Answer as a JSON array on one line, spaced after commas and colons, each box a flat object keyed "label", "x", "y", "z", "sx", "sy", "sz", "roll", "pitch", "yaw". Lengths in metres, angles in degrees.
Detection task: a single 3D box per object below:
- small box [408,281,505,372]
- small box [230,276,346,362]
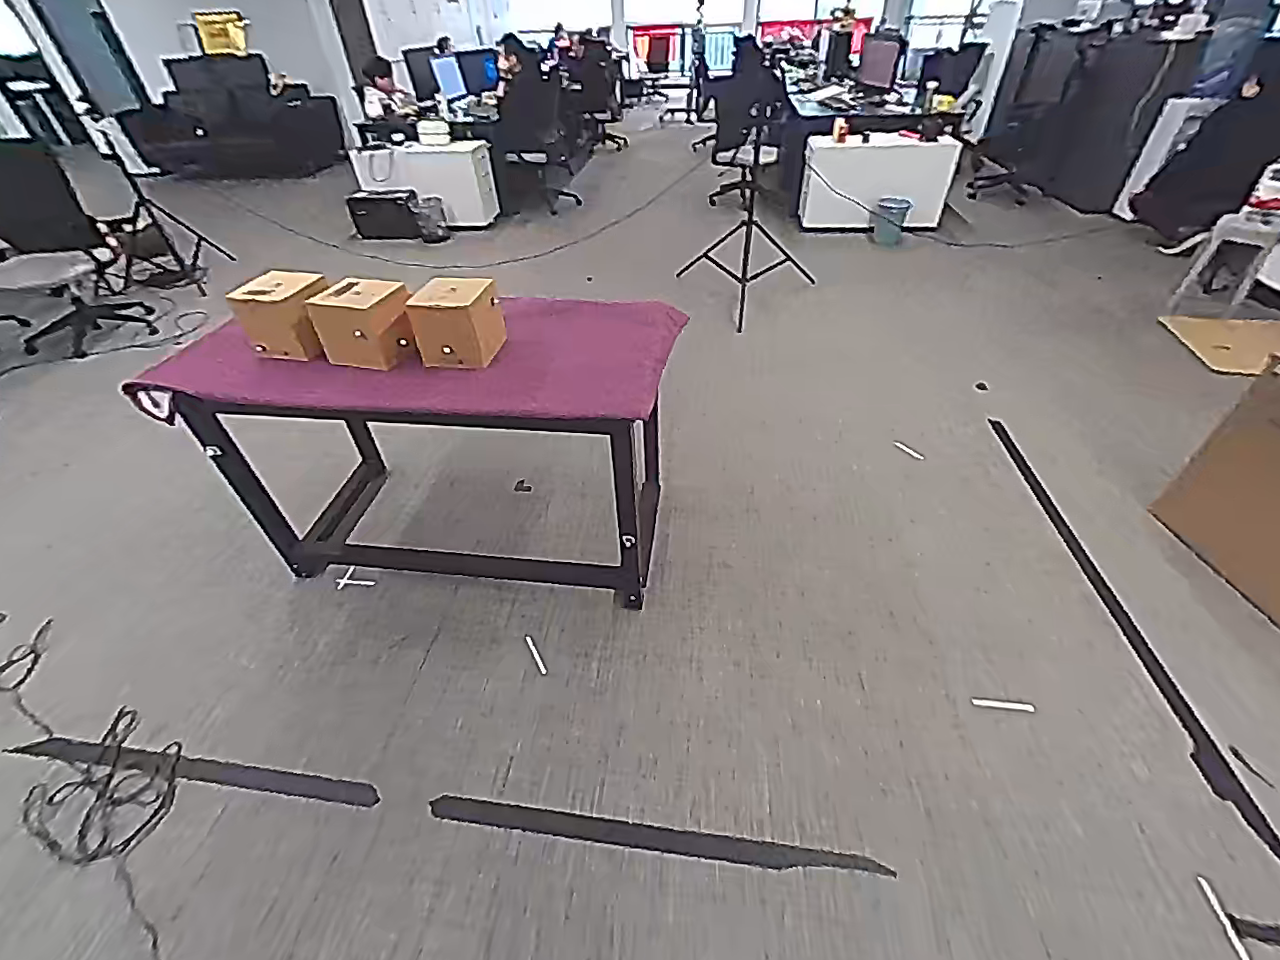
[{"label": "small box", "x": -0.461, "y": -0.398, "z": 1.394, "sx": 0.168, "sy": 0.176, "sz": 0.179, "roll": 4, "pitch": 41, "yaw": 8}, {"label": "small box", "x": -0.934, "y": -0.433, "z": 1.456, "sx": 0.168, "sy": 0.176, "sz": 0.179, "roll": 8, "pitch": 42, "yaw": 11}]
